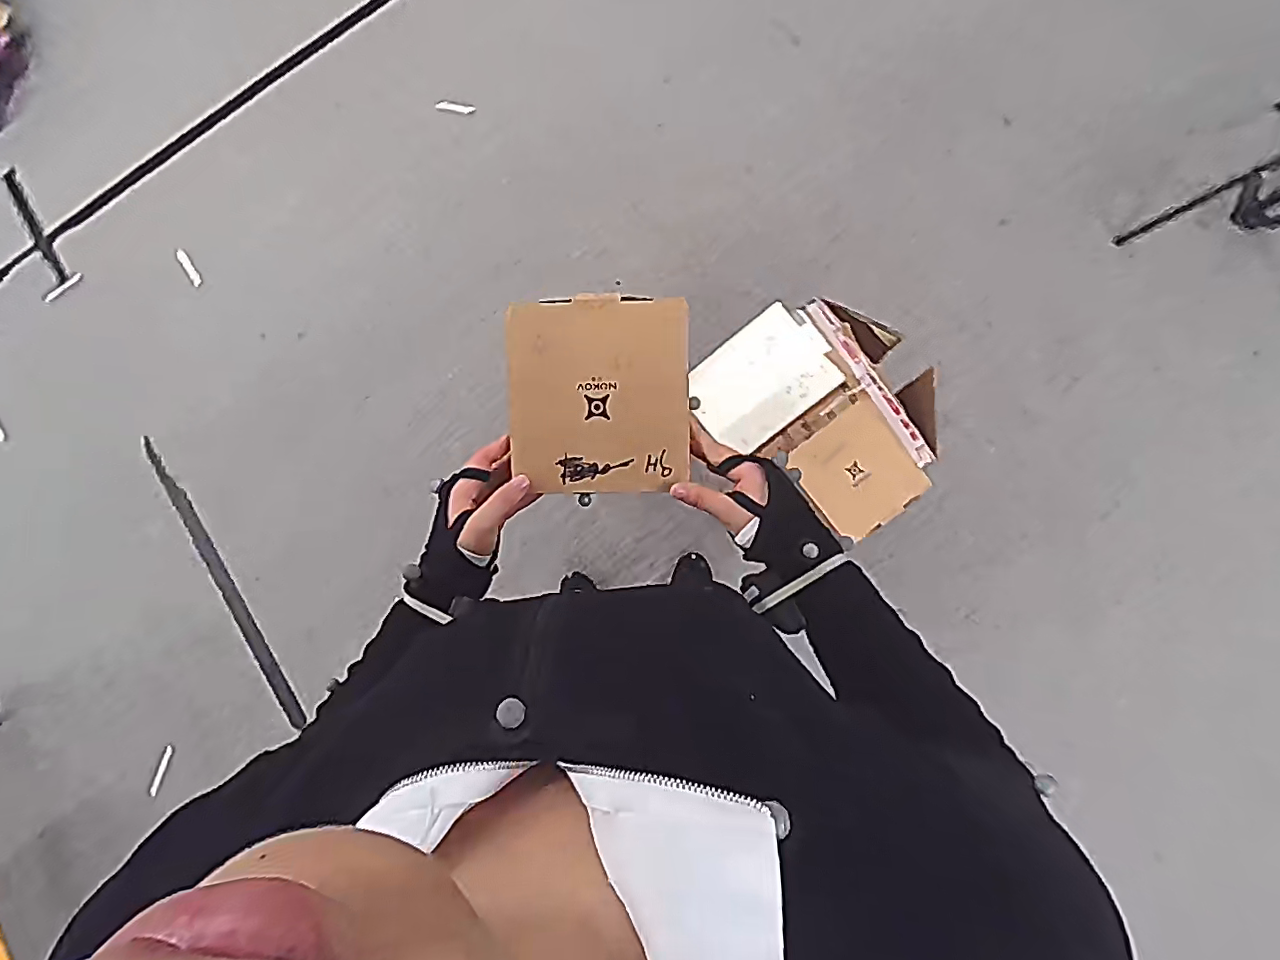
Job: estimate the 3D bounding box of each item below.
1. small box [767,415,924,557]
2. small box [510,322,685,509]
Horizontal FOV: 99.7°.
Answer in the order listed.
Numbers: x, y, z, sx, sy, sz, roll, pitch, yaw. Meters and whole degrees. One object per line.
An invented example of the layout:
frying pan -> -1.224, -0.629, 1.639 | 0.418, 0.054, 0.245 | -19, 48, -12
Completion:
small box -> 0.348, 0.015, 0.953 | 0.168, 0.176, 0.179 | -38, 82, 0
small box -> -0.037, -0.064, 0.587 | 0.168, 0.176, 0.179 | -1, 94, 3
